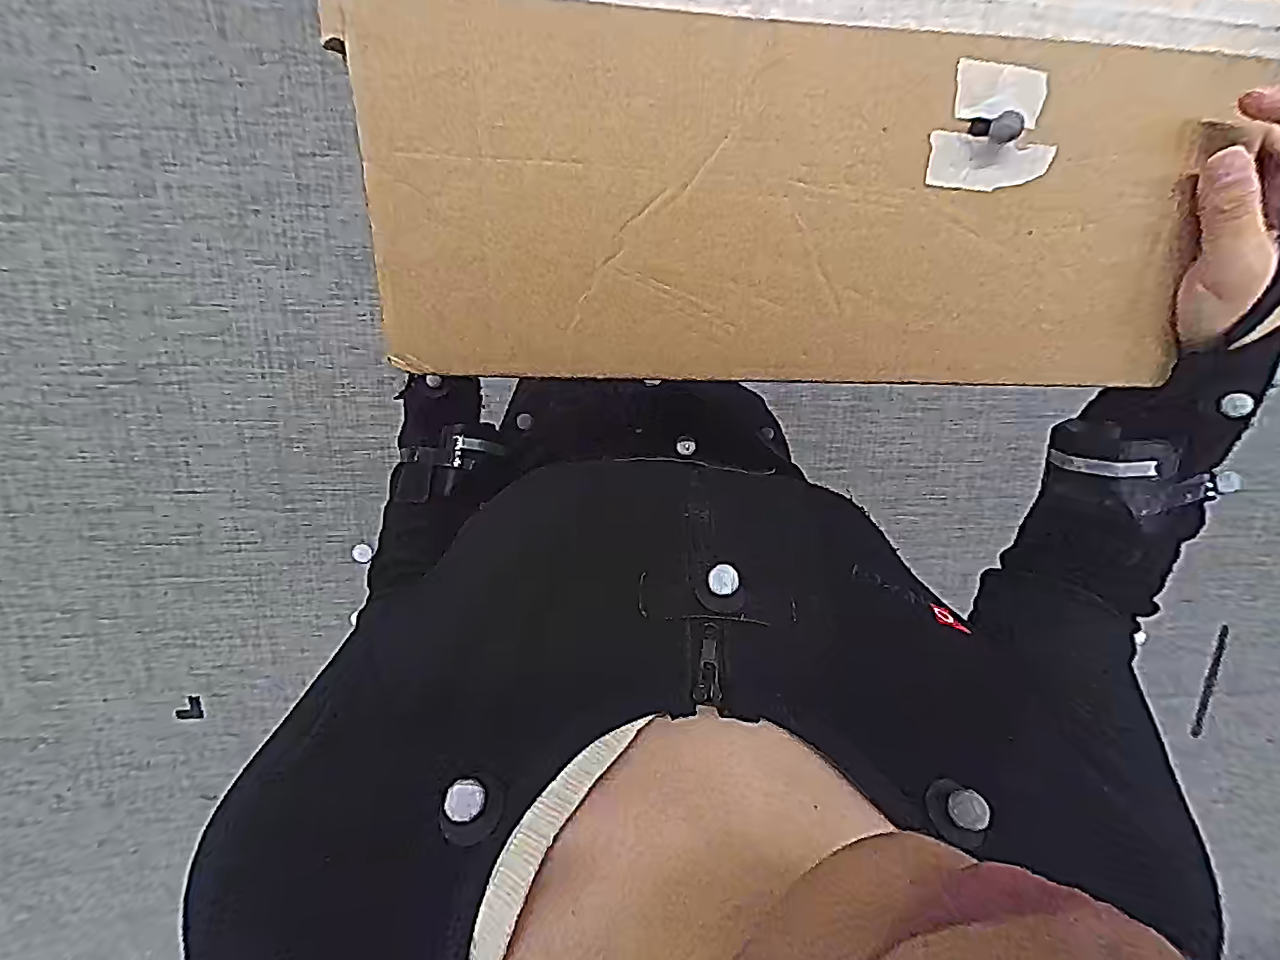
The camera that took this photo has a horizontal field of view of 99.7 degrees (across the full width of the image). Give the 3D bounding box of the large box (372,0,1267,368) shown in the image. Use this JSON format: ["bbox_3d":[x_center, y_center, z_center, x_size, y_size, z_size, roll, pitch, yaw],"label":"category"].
[{"bbox_3d":[0.070,-0.254,0.369,0.408,0.320,0.320,-1,111,-8],"label":"large box"}]
